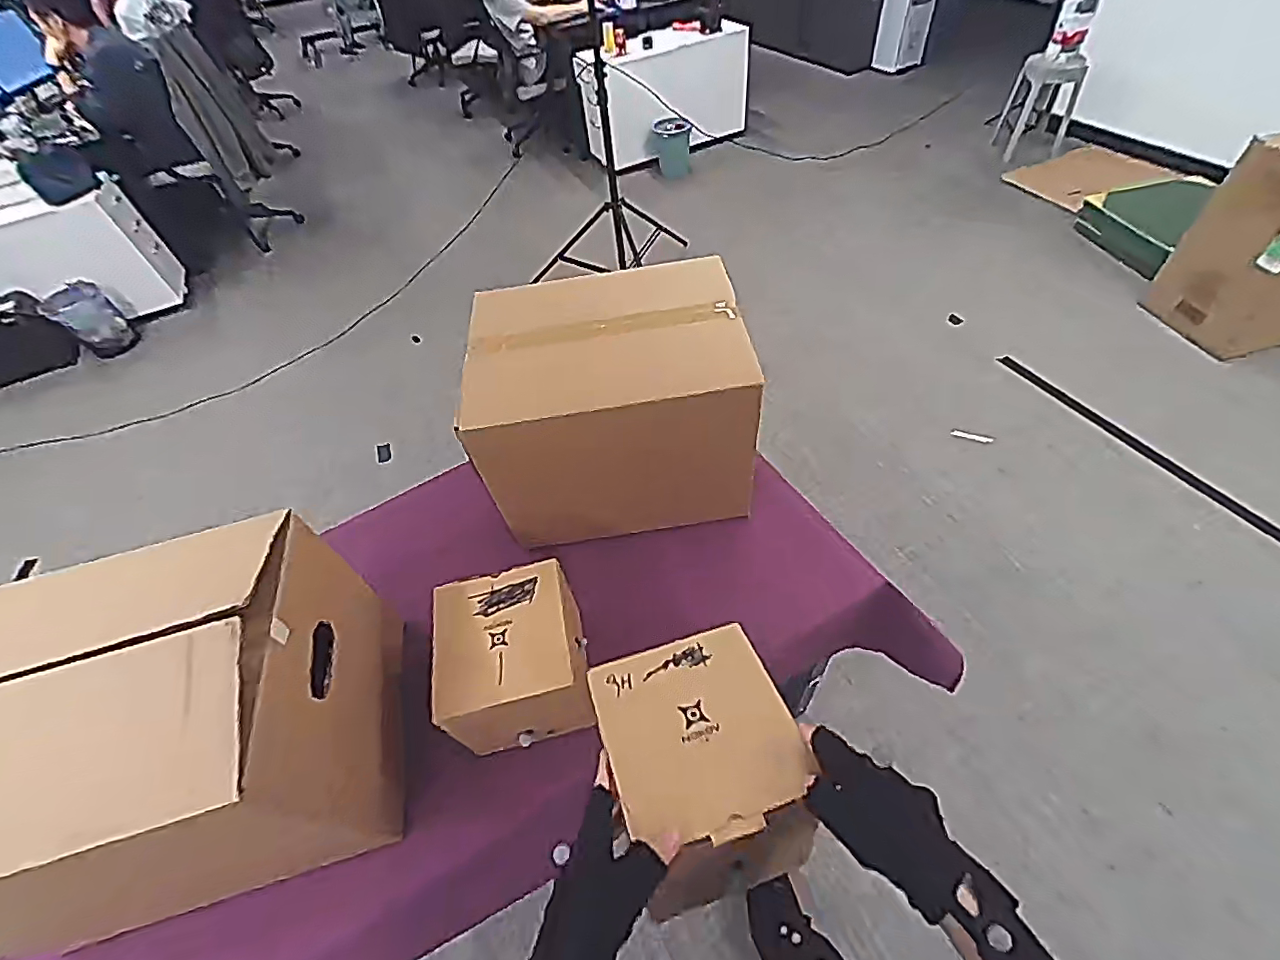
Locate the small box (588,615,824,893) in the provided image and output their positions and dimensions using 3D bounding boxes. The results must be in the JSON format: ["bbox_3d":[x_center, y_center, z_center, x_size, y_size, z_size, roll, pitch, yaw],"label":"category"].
[{"bbox_3d":[0.056,0.270,0.532,0.168,0.176,0.179,-14,39,-10],"label":"small box"}]

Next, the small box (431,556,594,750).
[{"bbox_3d":[-0.163,0.232,0.720,0.168,0.176,0.179,-13,51,-4],"label":"small box"}]
